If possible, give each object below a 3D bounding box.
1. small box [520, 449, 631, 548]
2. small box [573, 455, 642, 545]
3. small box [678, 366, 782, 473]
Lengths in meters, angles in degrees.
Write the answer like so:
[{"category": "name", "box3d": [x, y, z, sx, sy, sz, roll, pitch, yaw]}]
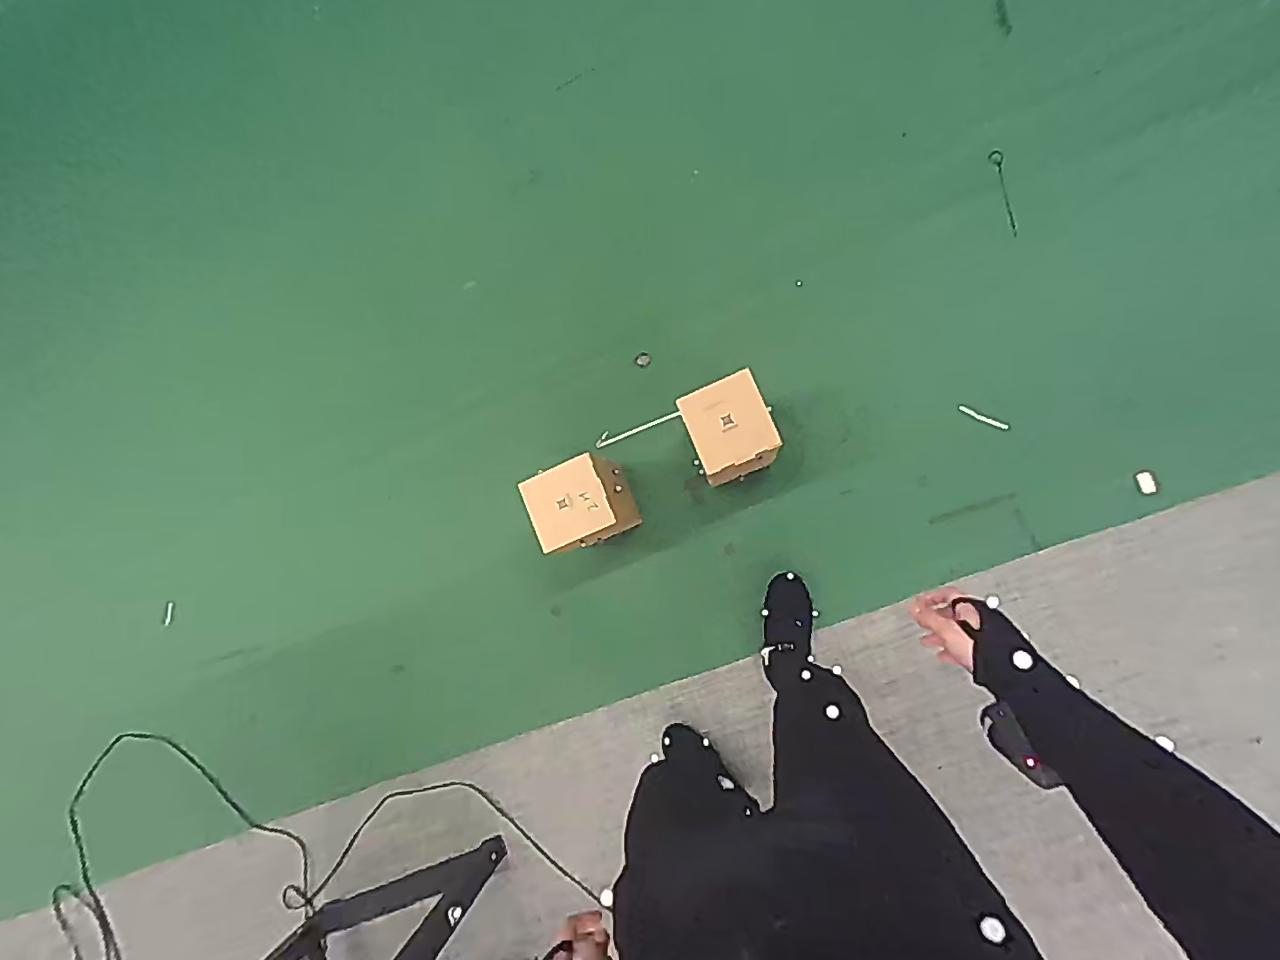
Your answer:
[{"category": "small box", "box3d": [-0.139, 0.047, 1.226, 0.179, 0.176, 0.168, -23, 82, 8]}, {"category": "small box", "box3d": [-0.109, 0.053, 1.388, 0.168, 0.176, 0.179, -24, 81, 8]}, {"category": "small box", "box3d": [0.195, -0.121, 1.178, 0.168, 0.176, 0.179, -23, 83, 7]}]
